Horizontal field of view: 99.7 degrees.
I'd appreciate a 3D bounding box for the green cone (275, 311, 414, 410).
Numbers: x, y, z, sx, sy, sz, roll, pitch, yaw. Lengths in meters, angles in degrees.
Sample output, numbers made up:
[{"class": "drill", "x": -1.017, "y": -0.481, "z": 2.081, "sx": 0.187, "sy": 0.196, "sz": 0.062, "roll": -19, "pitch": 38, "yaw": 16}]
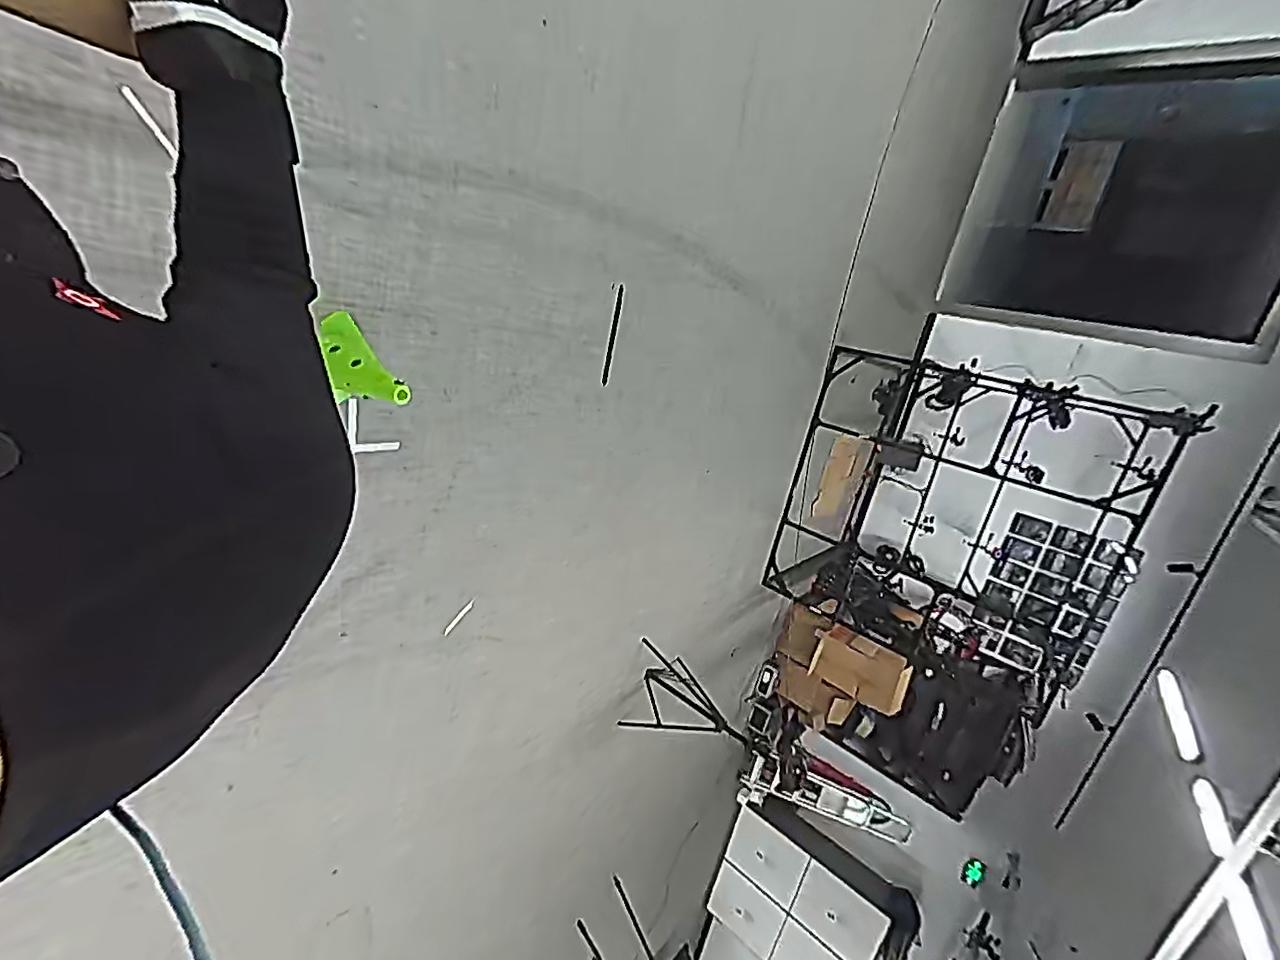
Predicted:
[{"class": "green cone", "x": -0.660, "y": -0.247, "z": 1.294, "sx": 0.202, "sy": 0.368, "sz": 0.200, "roll": -47, "pitch": 143, "yaw": -28}]
